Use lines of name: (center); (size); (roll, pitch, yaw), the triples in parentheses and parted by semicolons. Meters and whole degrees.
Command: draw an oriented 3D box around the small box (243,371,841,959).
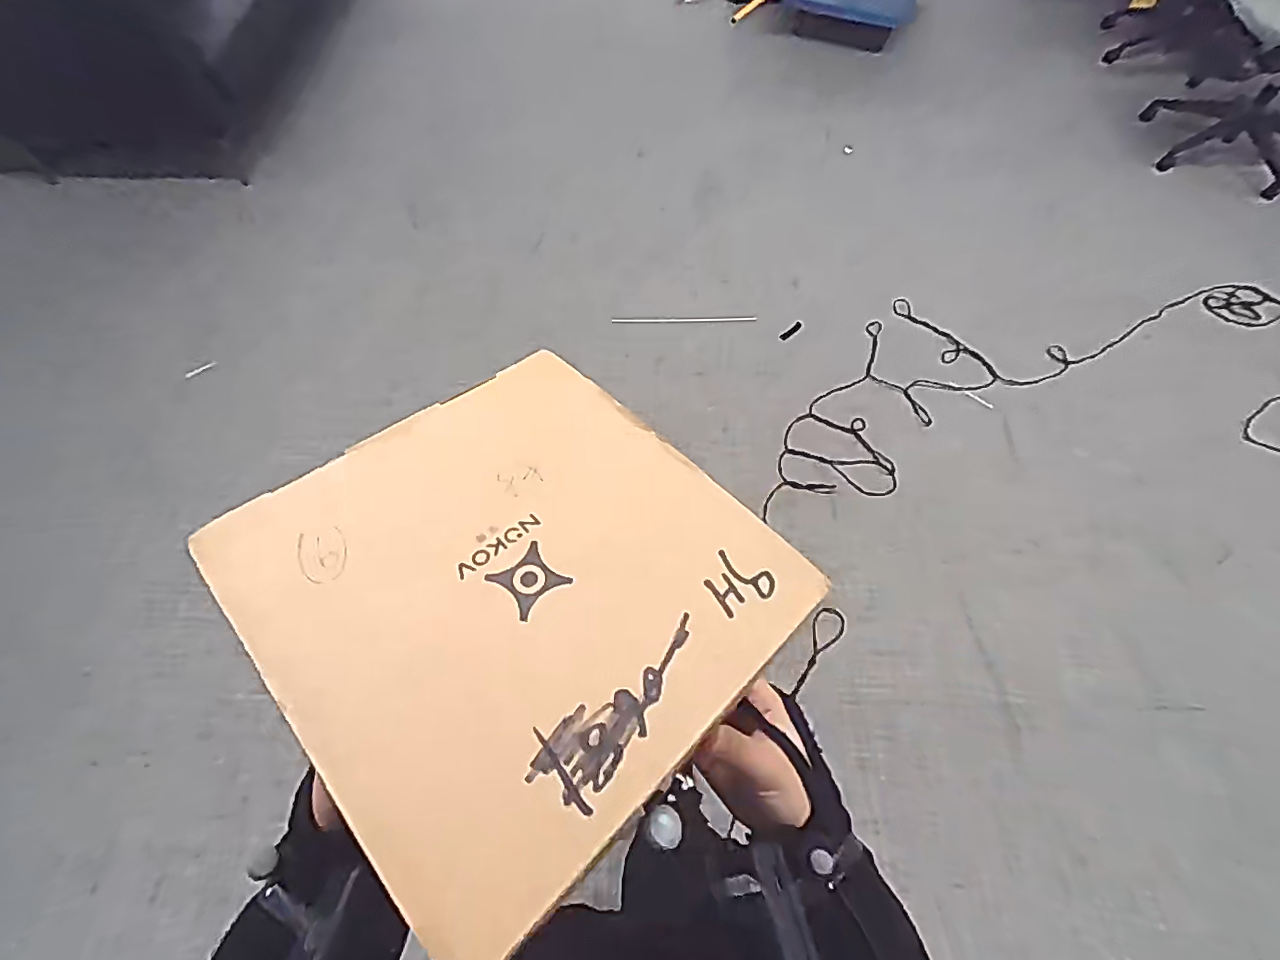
small box: (-0.042, 0.084, 0.273); (0.168, 0.176, 0.179); (-38, 64, -27)
